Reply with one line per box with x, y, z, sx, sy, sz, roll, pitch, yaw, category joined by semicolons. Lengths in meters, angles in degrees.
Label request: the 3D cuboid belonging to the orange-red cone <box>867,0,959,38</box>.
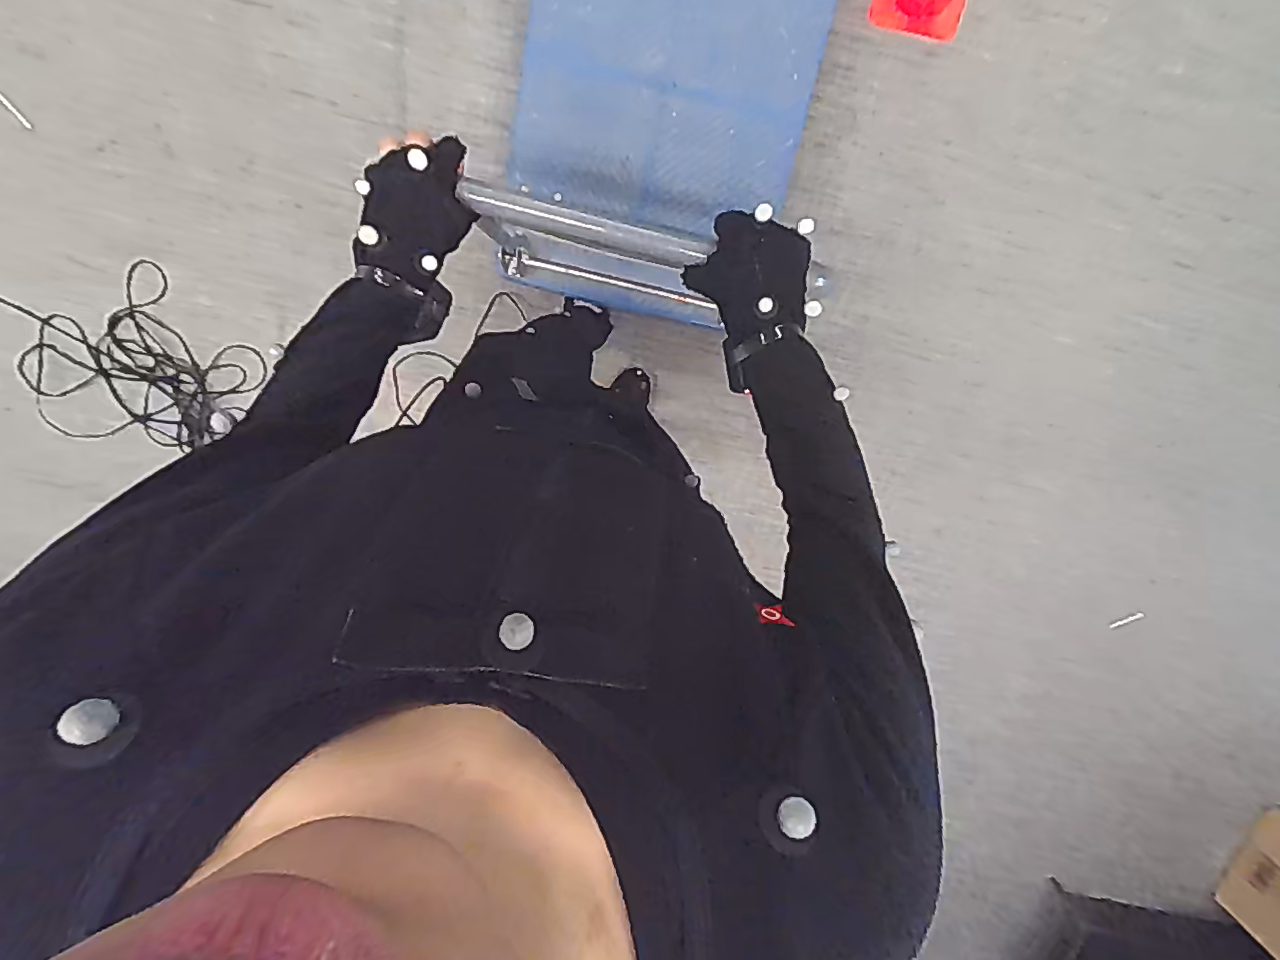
0.607;-1.047;1.012;0.199;0.360;0.198;13;105;-1;orange-red cone
